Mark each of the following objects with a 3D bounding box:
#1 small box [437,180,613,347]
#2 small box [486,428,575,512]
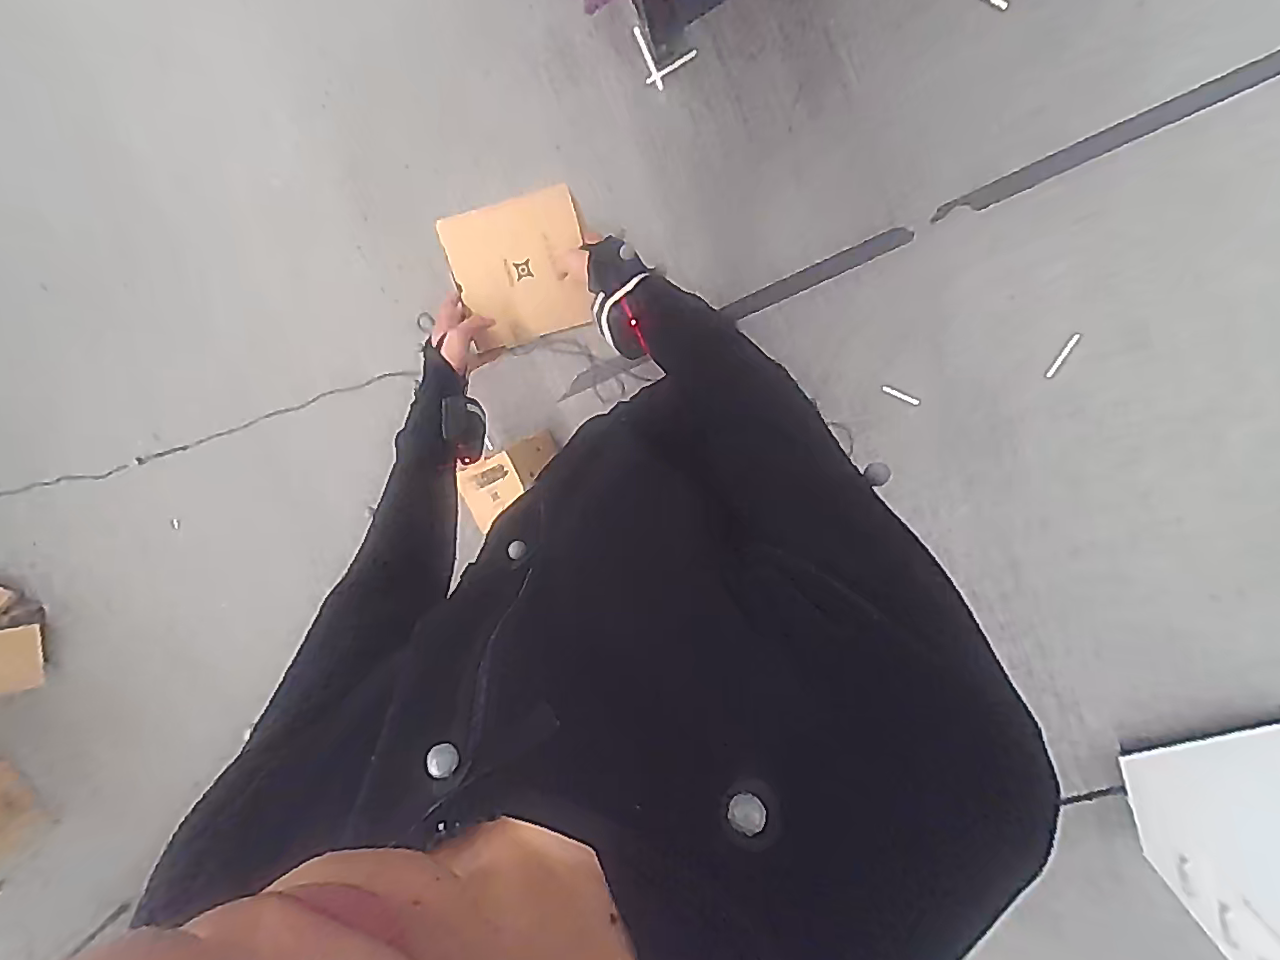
[{"bbox_3d":[-0.145,-0.287,0.751,0.179,0.176,0.168,-13,106,5],"label":"small box"},{"bbox_3d":[-0.315,-0.035,1.599,0.168,0.176,0.179,-23,101,15],"label":"small box"}]
